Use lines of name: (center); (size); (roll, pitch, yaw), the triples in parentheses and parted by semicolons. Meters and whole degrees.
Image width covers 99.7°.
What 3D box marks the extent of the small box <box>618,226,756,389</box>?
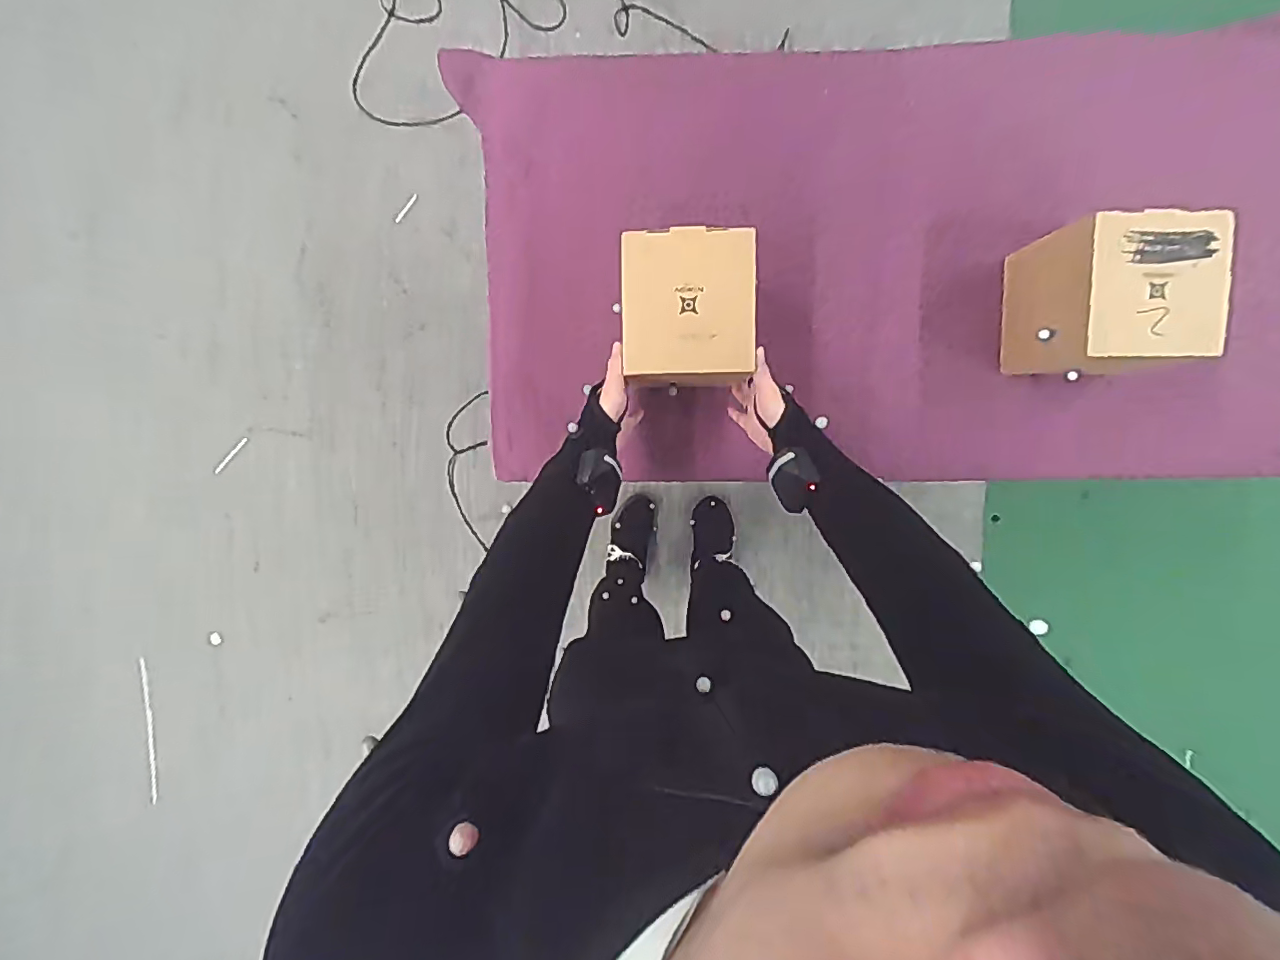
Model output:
small box: (0.057, -0.219, 0.727); (0.168, 0.176, 0.179); (0, 94, 2)
